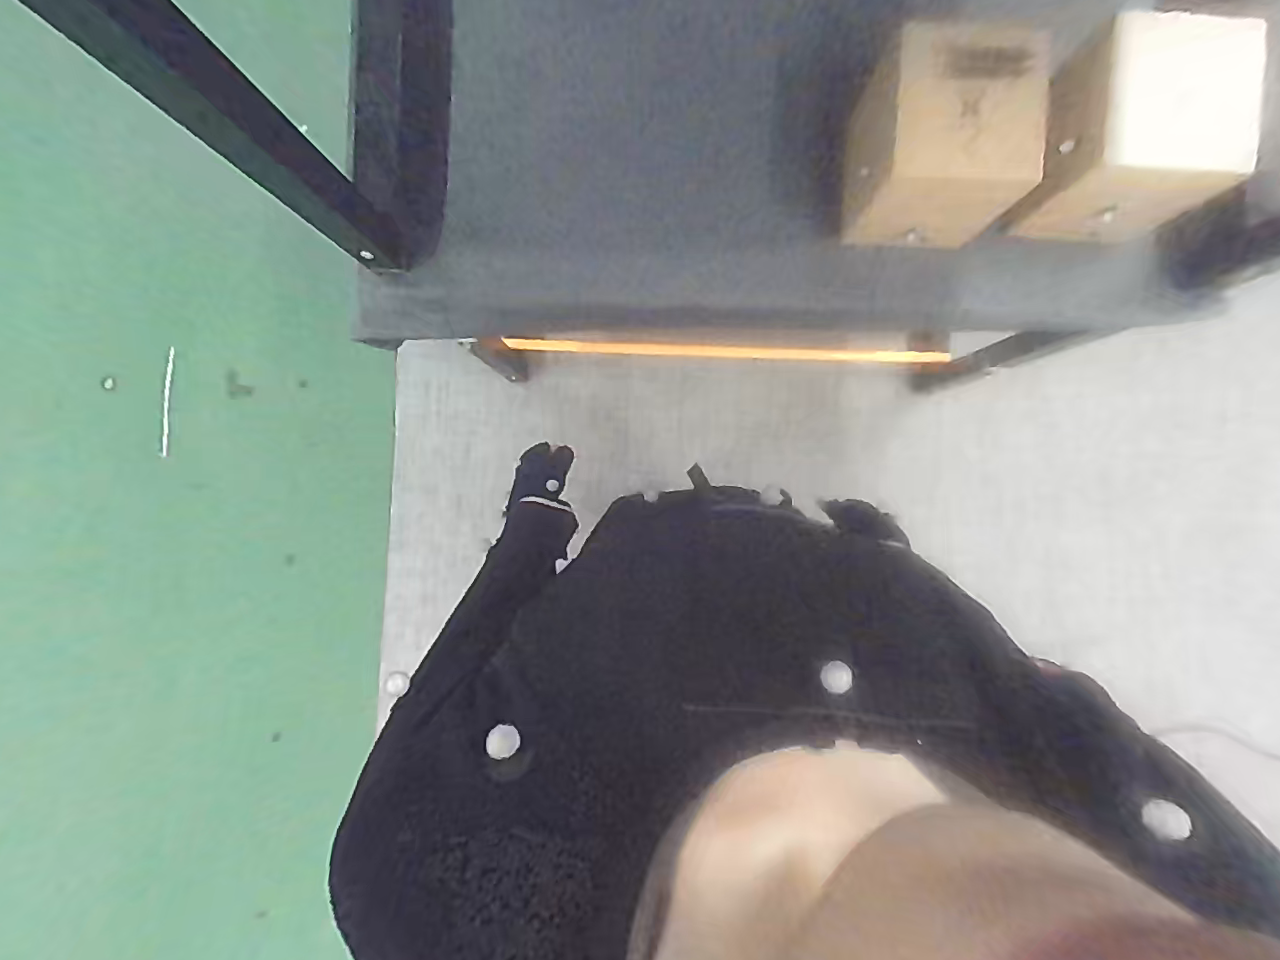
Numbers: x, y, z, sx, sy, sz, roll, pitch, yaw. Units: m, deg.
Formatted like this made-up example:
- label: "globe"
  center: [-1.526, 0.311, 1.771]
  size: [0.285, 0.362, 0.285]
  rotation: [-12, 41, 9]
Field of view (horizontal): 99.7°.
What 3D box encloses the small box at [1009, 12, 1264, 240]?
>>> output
- label: "small box"
  center: [0.597, -0.424, 0.675]
  size: [0.168, 0.176, 0.179]
  rotation: [5, 88, 1]
